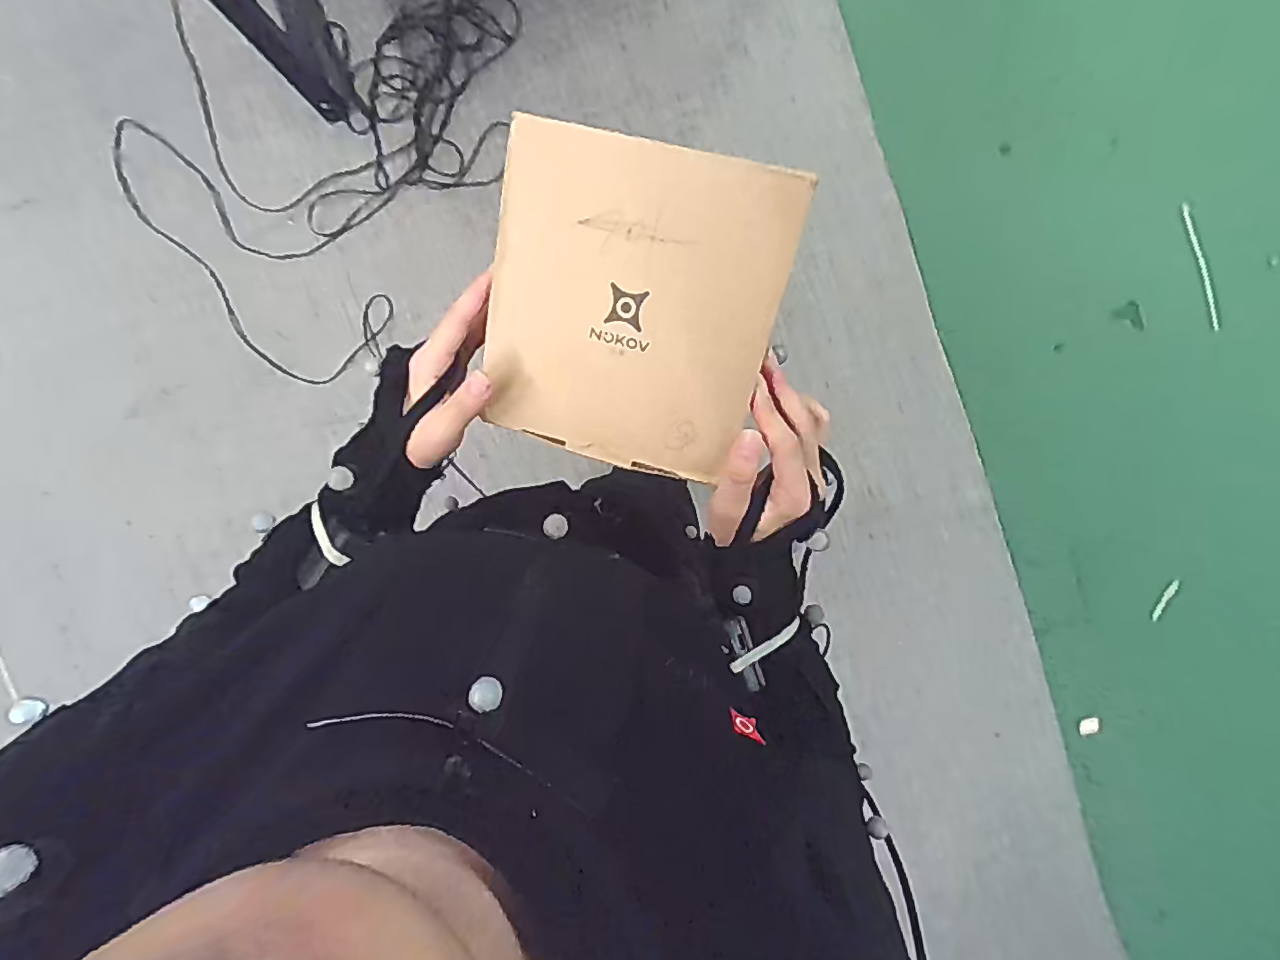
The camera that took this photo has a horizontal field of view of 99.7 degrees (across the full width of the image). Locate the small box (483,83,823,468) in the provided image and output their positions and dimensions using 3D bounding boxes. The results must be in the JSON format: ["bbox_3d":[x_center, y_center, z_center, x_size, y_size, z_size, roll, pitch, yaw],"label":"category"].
[{"bbox_3d":[0.011,-0.132,0.374,0.168,0.176,0.179,15,111,6],"label":"small box"}]
